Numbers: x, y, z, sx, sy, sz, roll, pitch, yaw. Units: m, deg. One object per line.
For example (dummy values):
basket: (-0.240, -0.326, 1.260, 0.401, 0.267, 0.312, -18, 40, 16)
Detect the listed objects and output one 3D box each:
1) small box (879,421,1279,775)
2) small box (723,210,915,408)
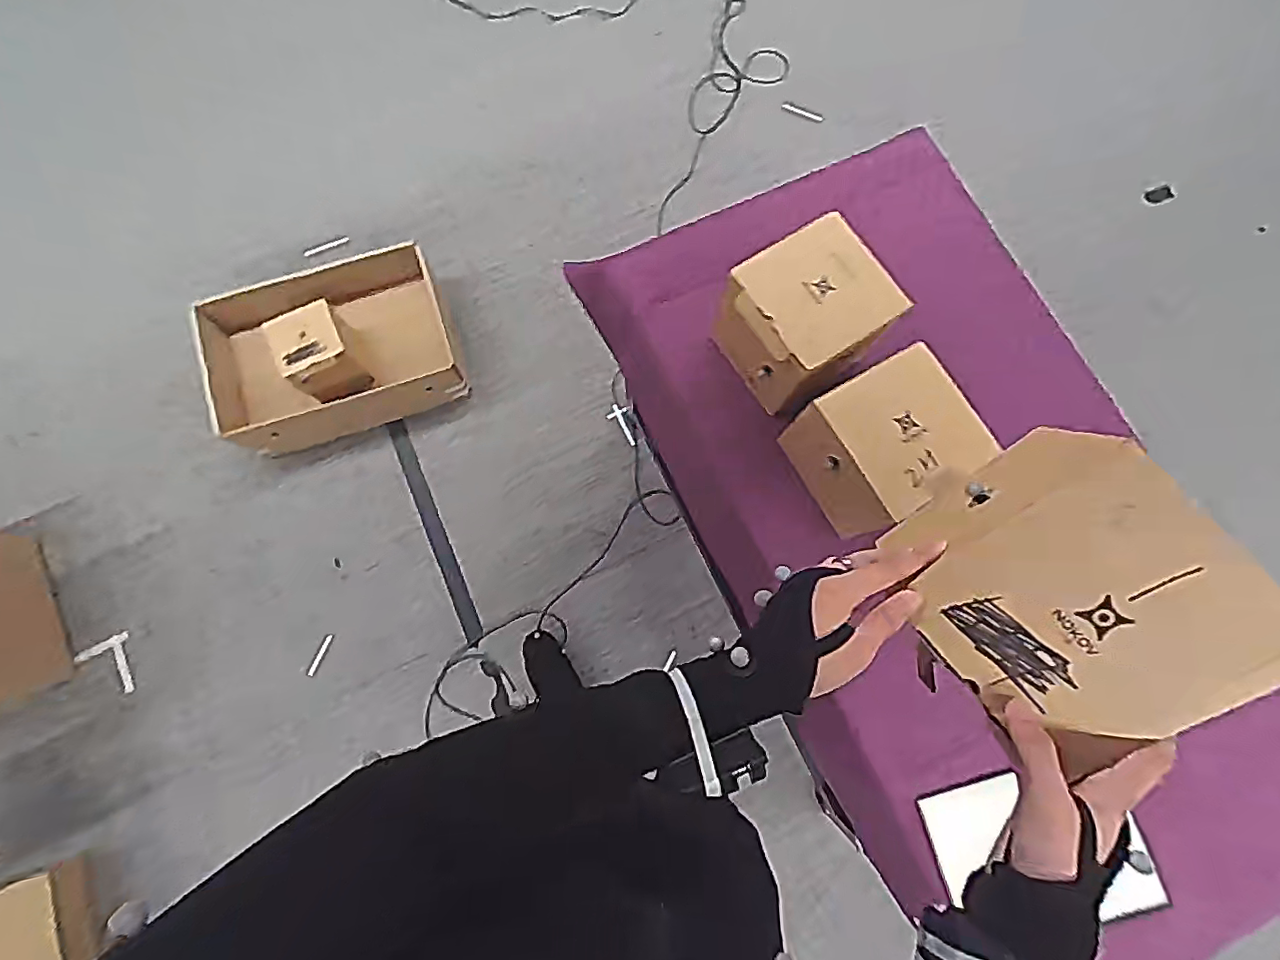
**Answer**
small box: (0.309, 0.072, 0.413, 0.179, 0.176, 0.168, -43, 82, 21)
small box: (0.233, -0.227, 0.761, 0.179, 0.176, 0.168, -32, 81, -8)
